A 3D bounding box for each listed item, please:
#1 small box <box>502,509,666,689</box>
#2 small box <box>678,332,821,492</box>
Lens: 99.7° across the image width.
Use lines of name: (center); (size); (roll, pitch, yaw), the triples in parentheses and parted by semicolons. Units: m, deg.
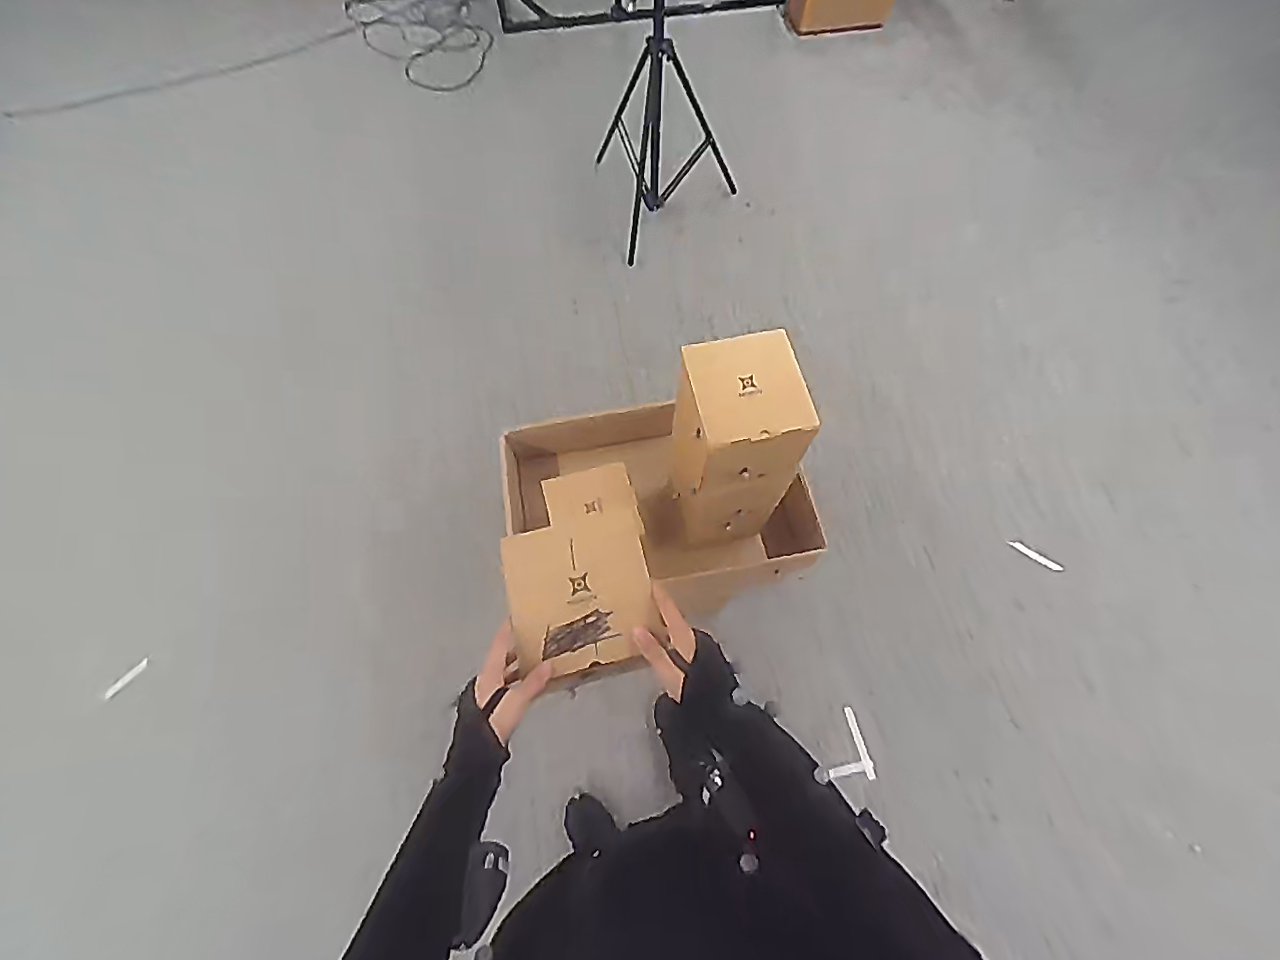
small box: (-0.065, 0.160, 0.693); (0.168, 0.176, 0.179); (-13, 67, -4)
small box: (0.159, -0.102, 0.856); (0.168, 0.176, 0.179); (-11, 67, -4)
